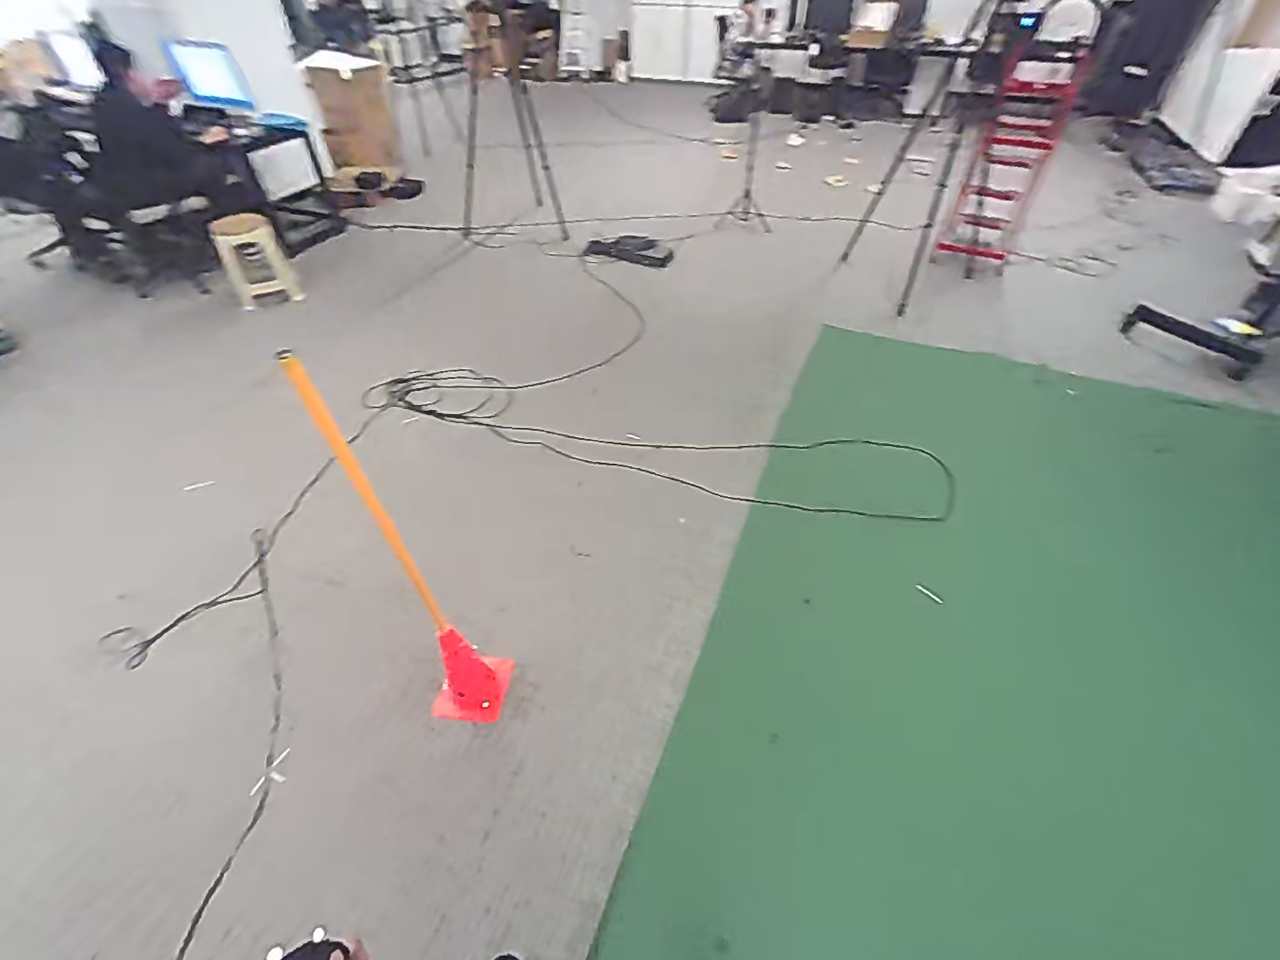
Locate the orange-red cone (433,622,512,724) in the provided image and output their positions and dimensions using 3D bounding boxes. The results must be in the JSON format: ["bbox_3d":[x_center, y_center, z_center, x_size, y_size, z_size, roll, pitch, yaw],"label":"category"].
[{"bbox_3d":[-0.508,0.512,1.535,0.198,0.360,0.199,6,44,5],"label":"orange-red cone"}]
